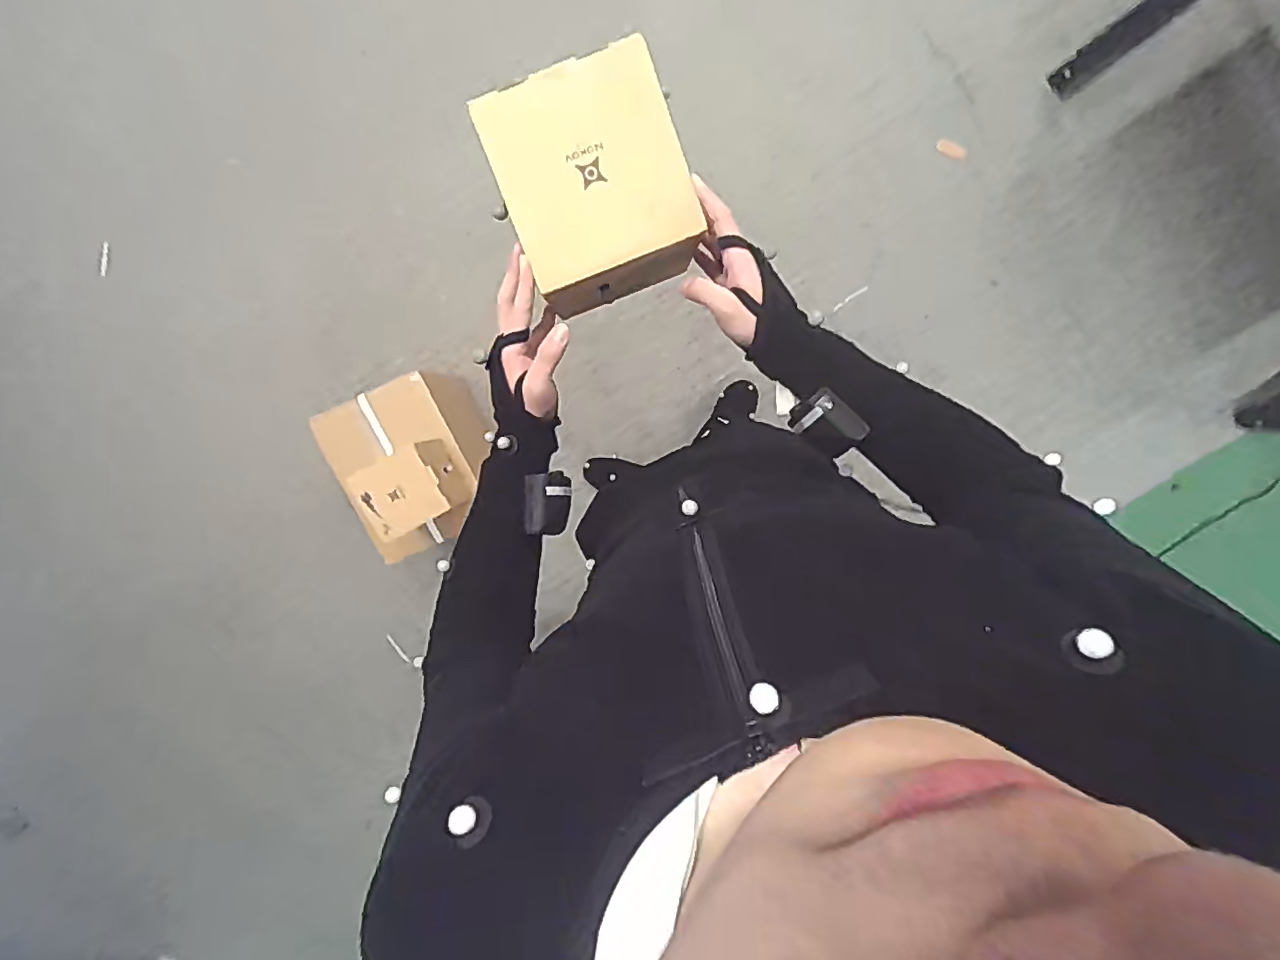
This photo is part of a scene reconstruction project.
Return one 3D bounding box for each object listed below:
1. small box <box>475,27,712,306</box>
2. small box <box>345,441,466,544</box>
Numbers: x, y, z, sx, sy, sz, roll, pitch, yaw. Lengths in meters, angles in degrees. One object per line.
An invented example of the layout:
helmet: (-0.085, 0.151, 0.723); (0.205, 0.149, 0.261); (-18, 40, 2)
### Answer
small box: (-0.039, -0.292, 0.555); (0.168, 0.176, 0.179); (-21, 98, 2)
small box: (-0.523, 0.020, 1.244); (0.179, 0.176, 0.168); (-28, 98, 3)
